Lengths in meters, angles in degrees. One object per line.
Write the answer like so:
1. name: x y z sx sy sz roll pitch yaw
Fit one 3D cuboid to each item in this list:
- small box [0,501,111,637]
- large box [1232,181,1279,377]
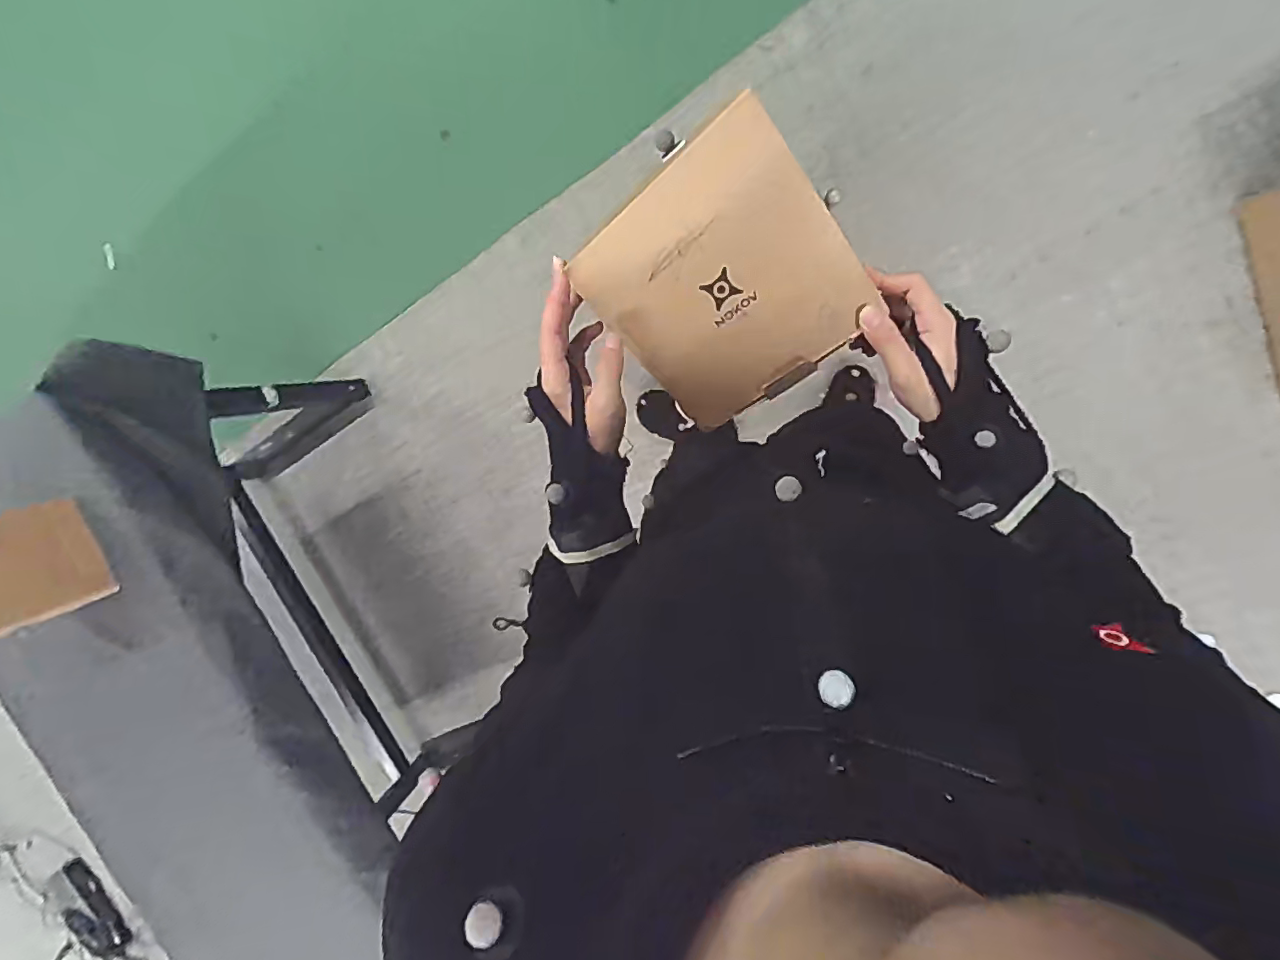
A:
1. small box: -1.017 0.153 0.866 0.168 0.176 0.179 -20 97 19
2. large box: 1.269 -0.357 0.839 0.320 0.320 0.408 -21 98 19
